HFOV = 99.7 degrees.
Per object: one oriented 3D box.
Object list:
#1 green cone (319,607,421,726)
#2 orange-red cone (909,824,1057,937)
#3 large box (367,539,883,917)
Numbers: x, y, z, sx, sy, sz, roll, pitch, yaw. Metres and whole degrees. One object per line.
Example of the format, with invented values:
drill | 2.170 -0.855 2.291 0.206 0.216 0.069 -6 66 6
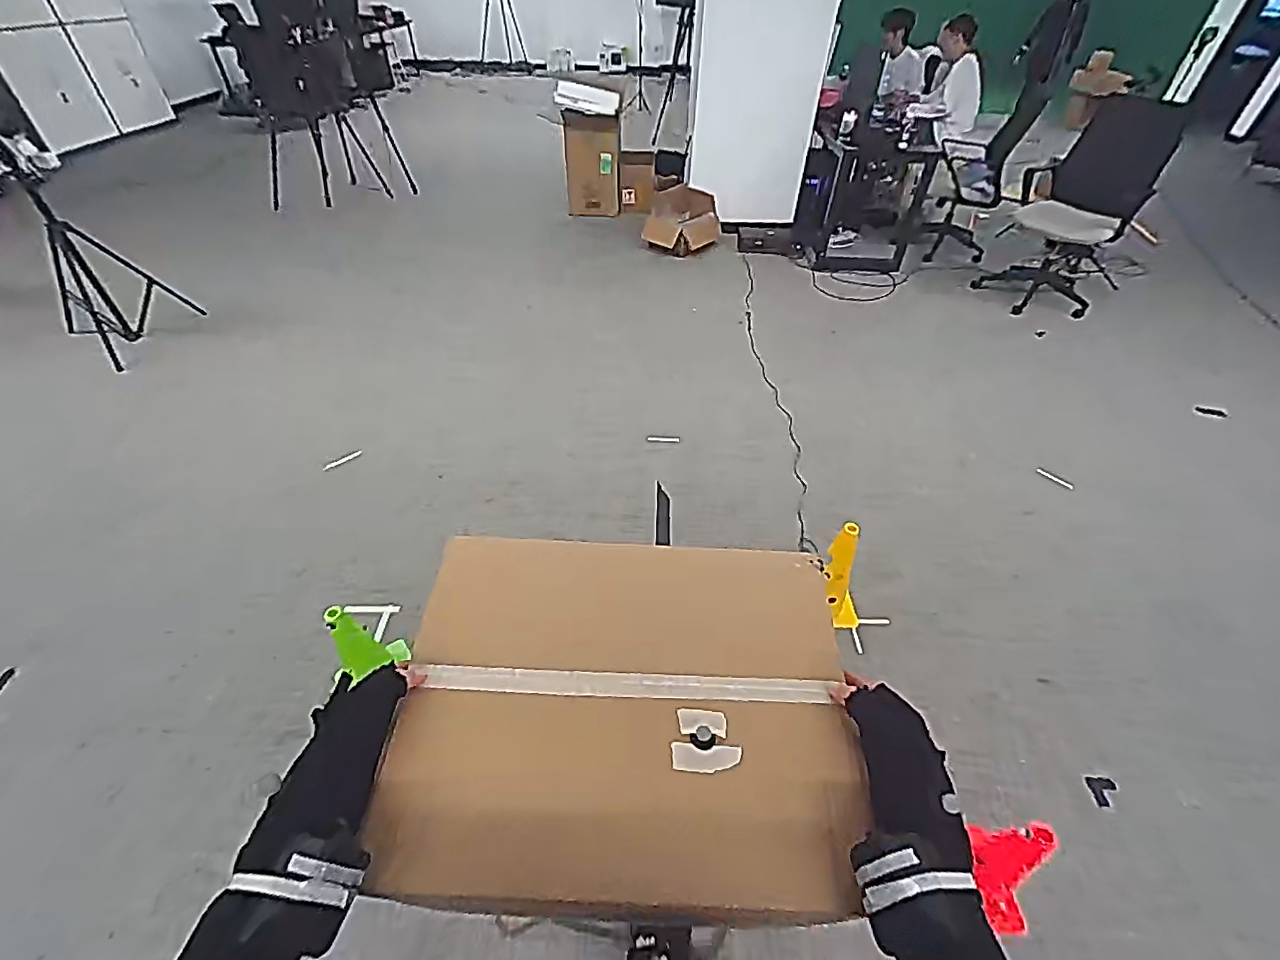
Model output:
green cone | -0.737 0.440 1.410 0.202 0.368 0.200 -27 49 -25
orange-red cone | 0.732 0.773 1.102 0.198 0.360 0.199 1 42 -2
large box | -0.014 0.287 0.617 0.408 0.320 0.320 3 49 -1
